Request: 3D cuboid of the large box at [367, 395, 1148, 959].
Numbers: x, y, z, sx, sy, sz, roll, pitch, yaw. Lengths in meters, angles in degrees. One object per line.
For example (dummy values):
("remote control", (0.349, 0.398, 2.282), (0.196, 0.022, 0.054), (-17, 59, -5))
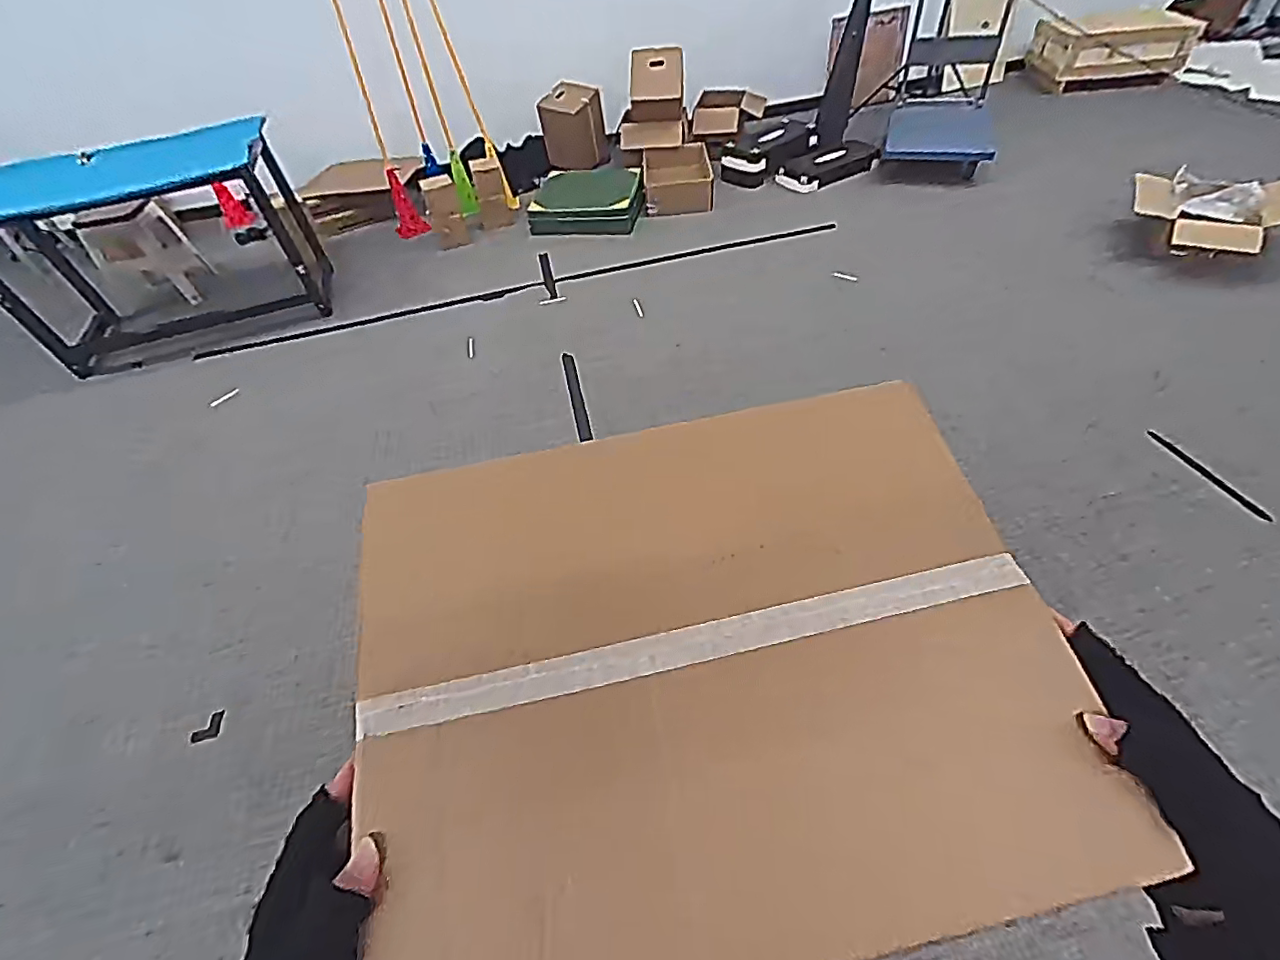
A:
("large box", (0.044, 0.176, 0.460), (0.408, 0.320, 0.320), (-12, 61, -4))
